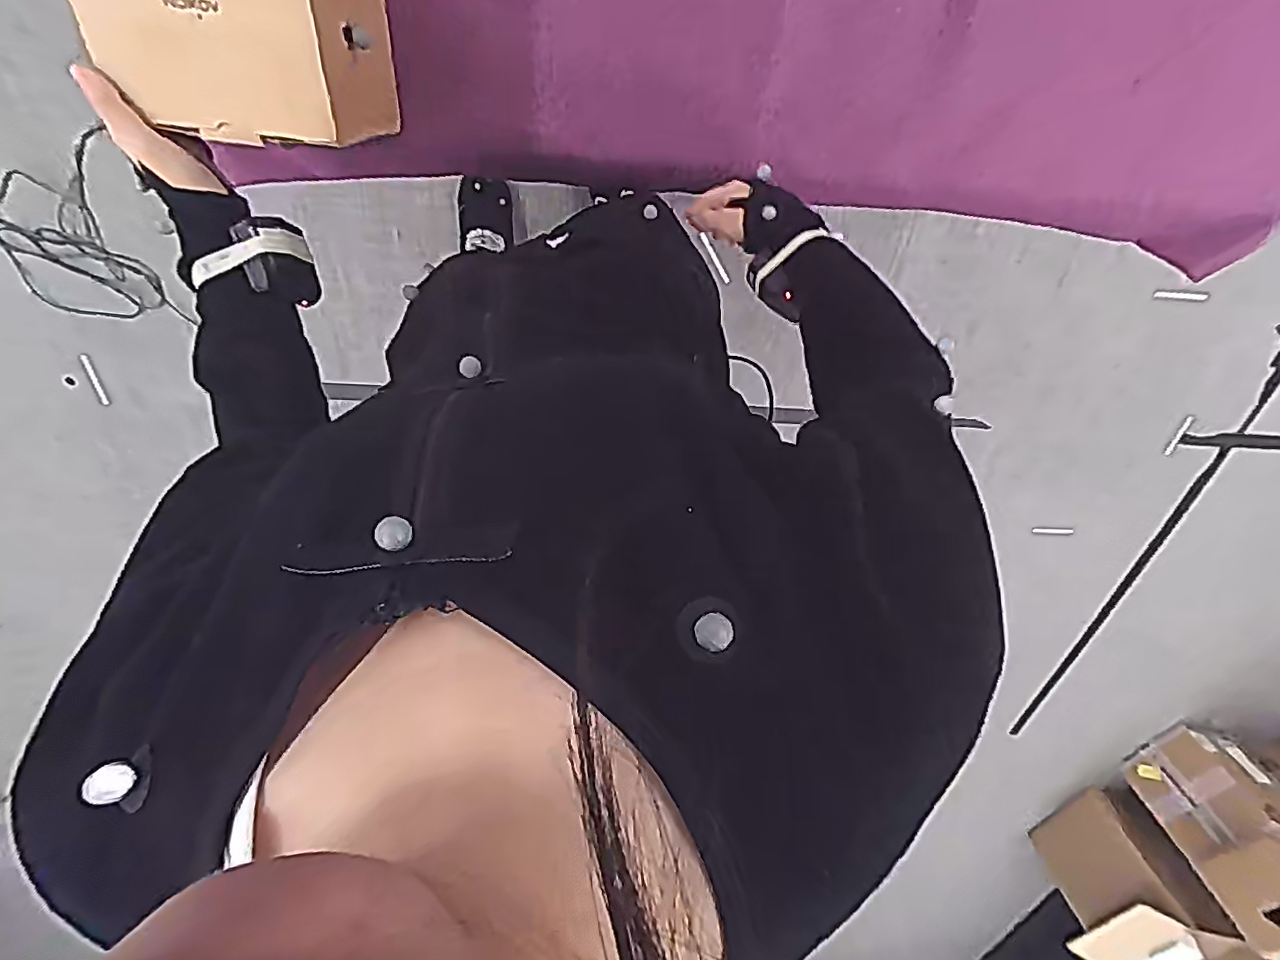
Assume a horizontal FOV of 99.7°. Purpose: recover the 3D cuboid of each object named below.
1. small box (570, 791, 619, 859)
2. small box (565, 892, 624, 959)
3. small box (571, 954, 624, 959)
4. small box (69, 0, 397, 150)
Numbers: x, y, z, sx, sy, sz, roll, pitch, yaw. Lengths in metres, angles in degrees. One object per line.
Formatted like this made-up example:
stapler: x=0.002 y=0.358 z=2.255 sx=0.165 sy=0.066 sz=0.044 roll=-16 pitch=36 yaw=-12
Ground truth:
small box: x=-0.173 y=1.308 z=2.055 sx=0.179 sy=0.176 sz=0.168 roll=2 pitch=122 yaw=-4
small box: x=-0.151 y=1.487 z=1.780 sx=0.179 sy=0.176 sz=0.168 roll=4 pitch=122 yaw=-7
small box: x=-0.141 y=1.575 z=1.645 sx=0.179 sy=0.176 sz=0.168 roll=5 pitch=121 yaw=-7
small box: x=-0.313 y=-0.385 z=0.434 sx=0.168 sy=0.176 sz=0.179 roll=2 pitch=127 yaw=-6
